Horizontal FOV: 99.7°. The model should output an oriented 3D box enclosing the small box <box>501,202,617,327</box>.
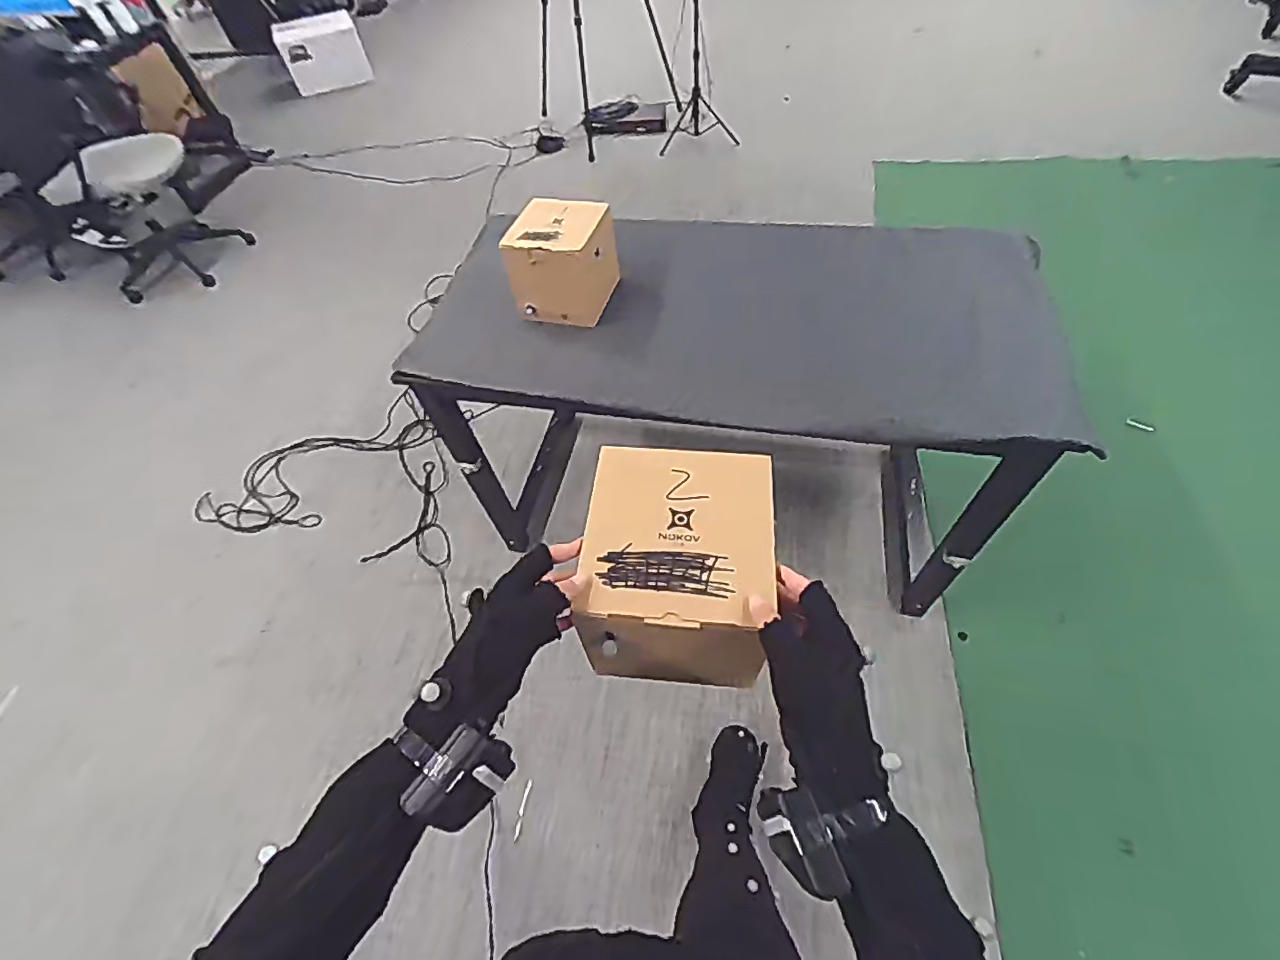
[{"bbox_3d":[-0.151,-0.433,1.094,0.168,0.176,0.179,11,55,13],"label":"small box"}]
